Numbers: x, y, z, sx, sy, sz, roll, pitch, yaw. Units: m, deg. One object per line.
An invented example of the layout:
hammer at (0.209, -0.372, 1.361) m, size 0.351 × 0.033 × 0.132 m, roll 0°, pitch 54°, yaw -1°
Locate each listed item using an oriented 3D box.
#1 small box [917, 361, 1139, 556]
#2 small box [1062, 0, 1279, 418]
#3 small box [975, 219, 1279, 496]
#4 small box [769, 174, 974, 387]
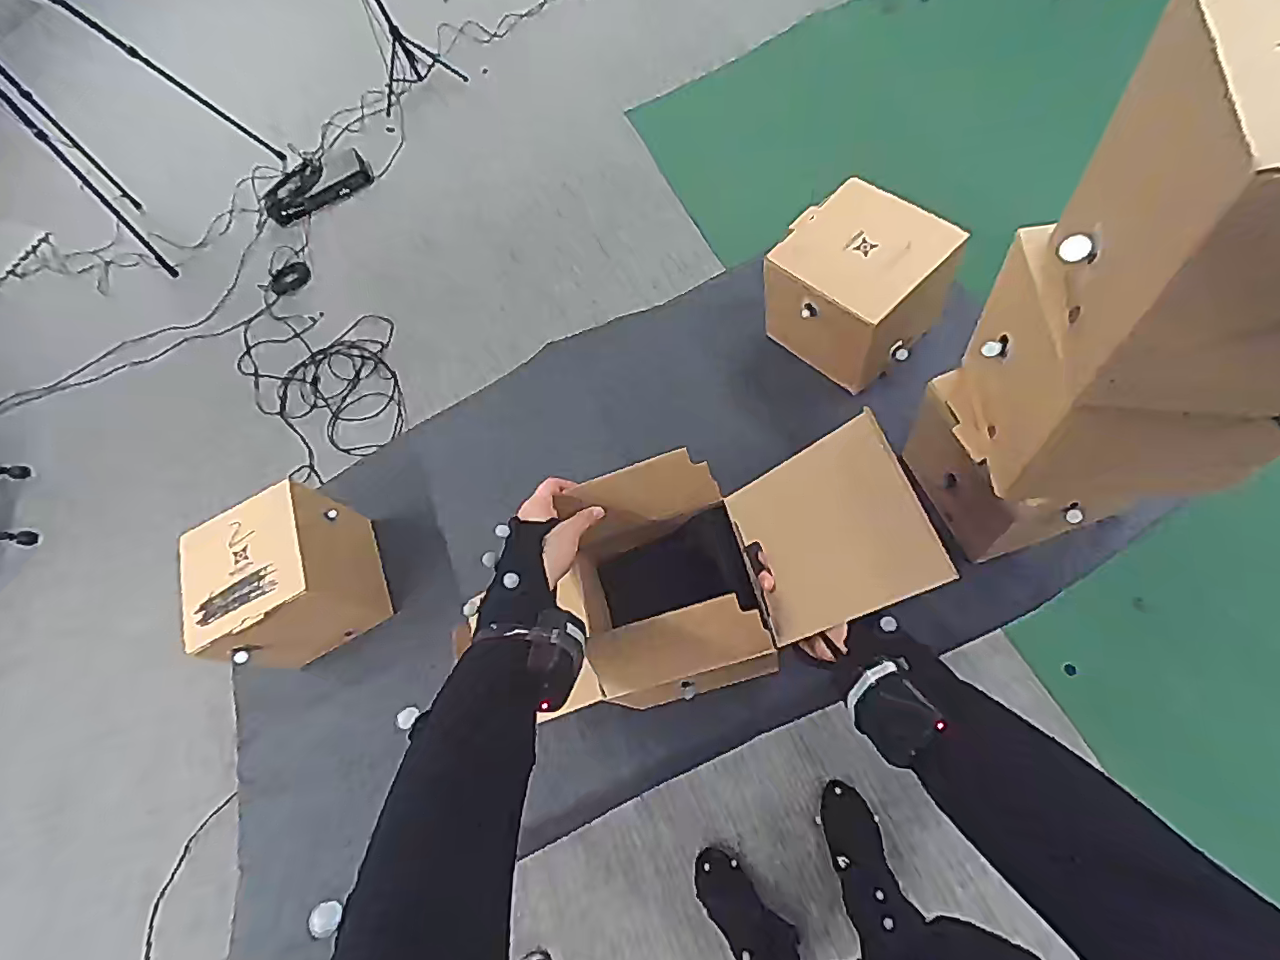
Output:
small box at (0.430, -0.036, 0.593) m, size 0.179 × 0.176 × 0.168 m, roll -22°, pitch 61°, yaw 5°
small box at (0.367, -0.145, 0.287) m, size 0.179 × 0.176 × 0.168 m, roll 7°, pitch 66°, yaw 19°
small box at (0.399, -0.094, 0.442) m, size 0.179 × 0.176 × 0.168 m, roll -2°, pitch 64°, yaw 14°
small box at (0.293, -0.258, 0.728) m, size 0.168 × 0.176 × 0.179 m, roll -43°, pitch 65°, yaw -4°
